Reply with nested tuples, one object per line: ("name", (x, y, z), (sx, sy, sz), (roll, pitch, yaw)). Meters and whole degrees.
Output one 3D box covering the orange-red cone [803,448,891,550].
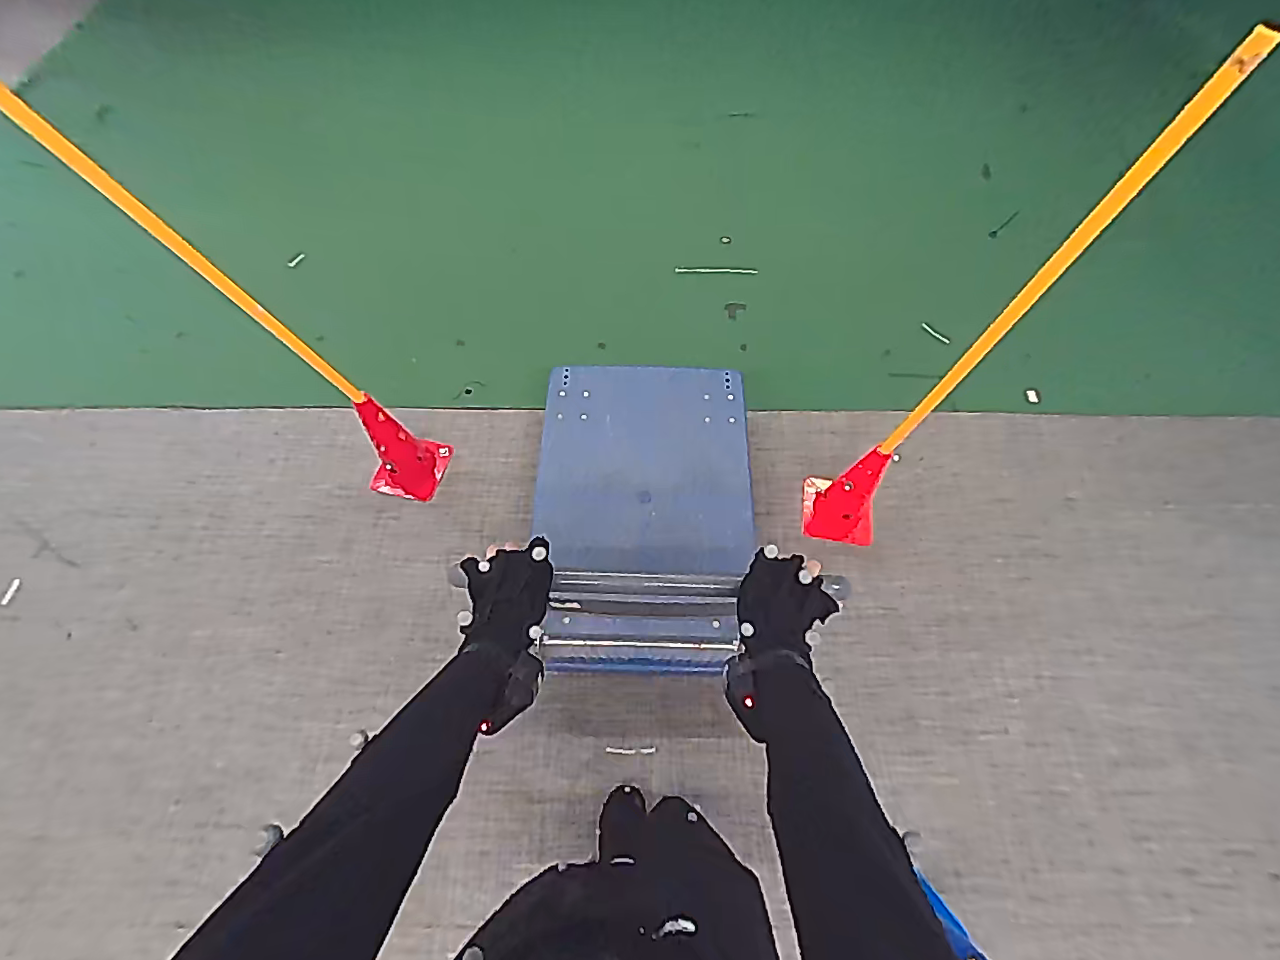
("orange-red cone", (0.586, 0.023, 1.446), (0.198, 0.360, 0.199), (10, 63, 6))
